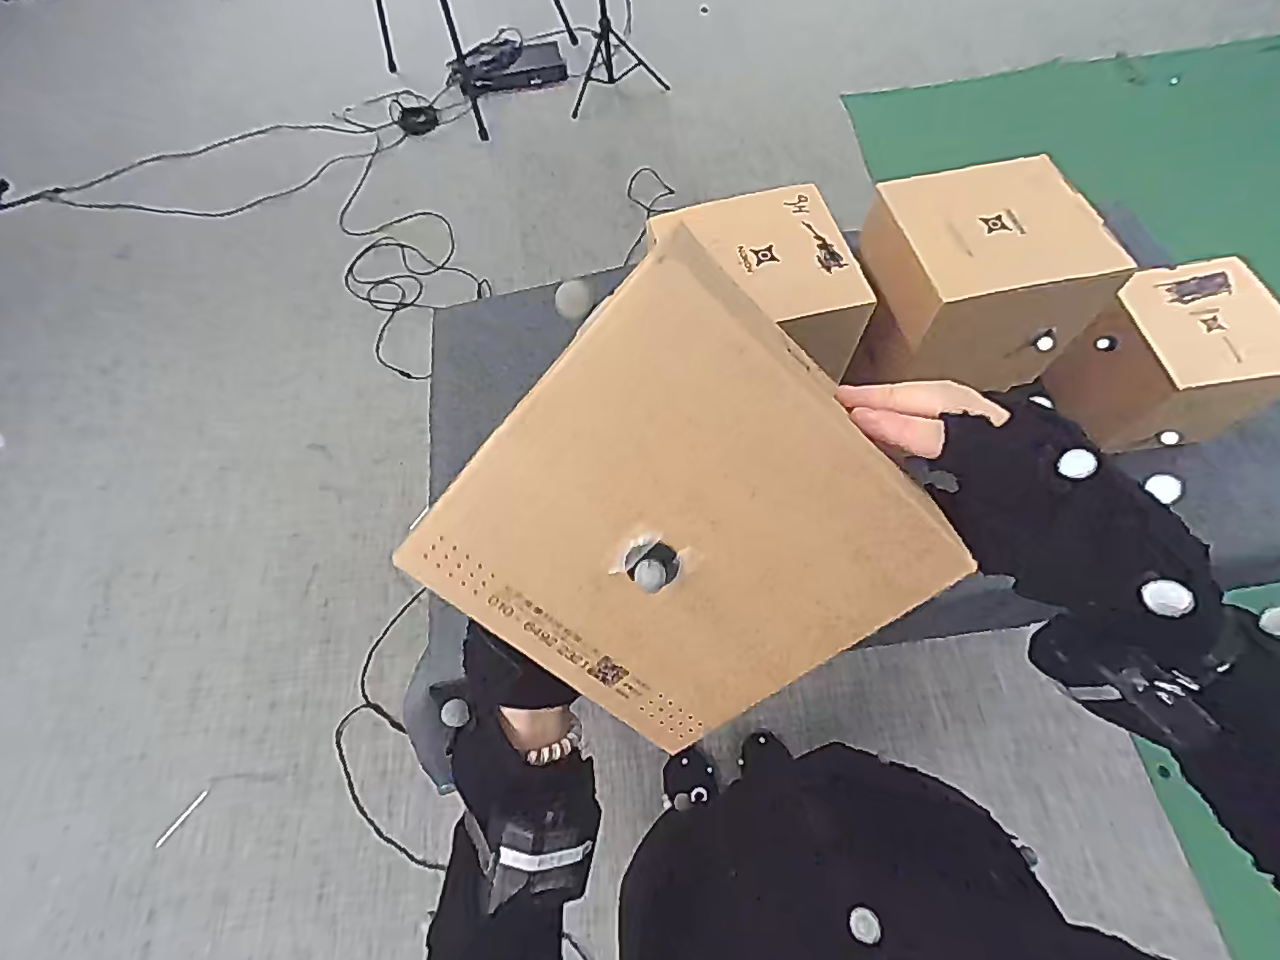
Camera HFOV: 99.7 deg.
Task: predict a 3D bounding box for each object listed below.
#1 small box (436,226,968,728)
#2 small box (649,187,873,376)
[{"bbox_3d":[0.021,-0.006,0.292,0.168,0.179,0.176,40,115,-14],"label":"small box"},{"bbox_3d":[0.117,-0.174,0.586,0.179,0.176,0.168,-13,65,-1],"label":"small box"}]
